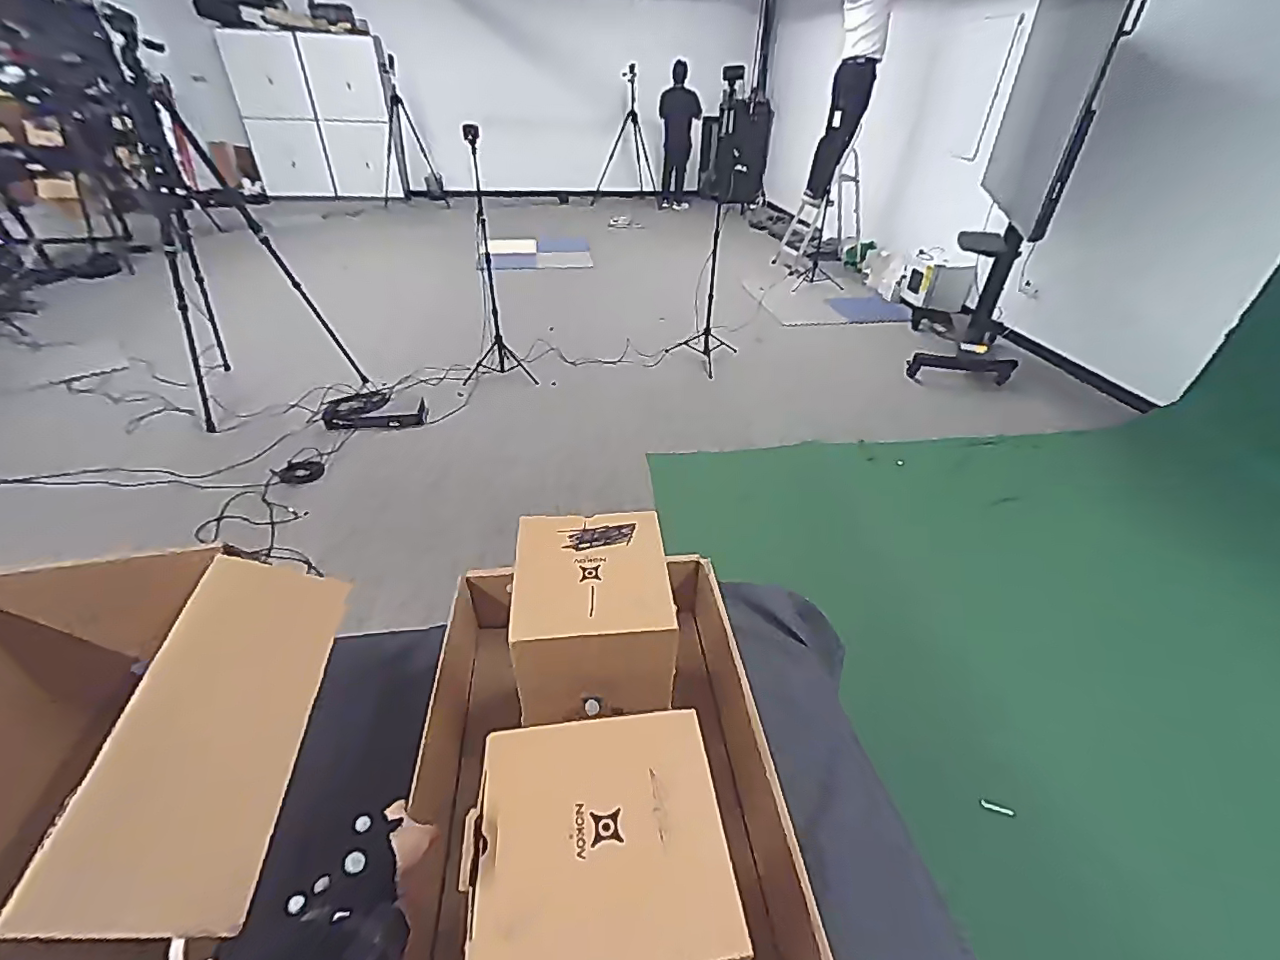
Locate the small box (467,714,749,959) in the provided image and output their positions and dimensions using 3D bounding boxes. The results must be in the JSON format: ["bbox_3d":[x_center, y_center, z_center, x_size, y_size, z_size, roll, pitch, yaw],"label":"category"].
[{"bbox_3d":[-0.029,0.316,0.433,0.179,0.176,0.168,-3,37,-8],"label":"small box"}]

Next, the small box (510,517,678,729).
[{"bbox_3d":[-0.053,0.163,0.633,0.168,0.176,0.179,-2,39,-5],"label":"small box"}]
